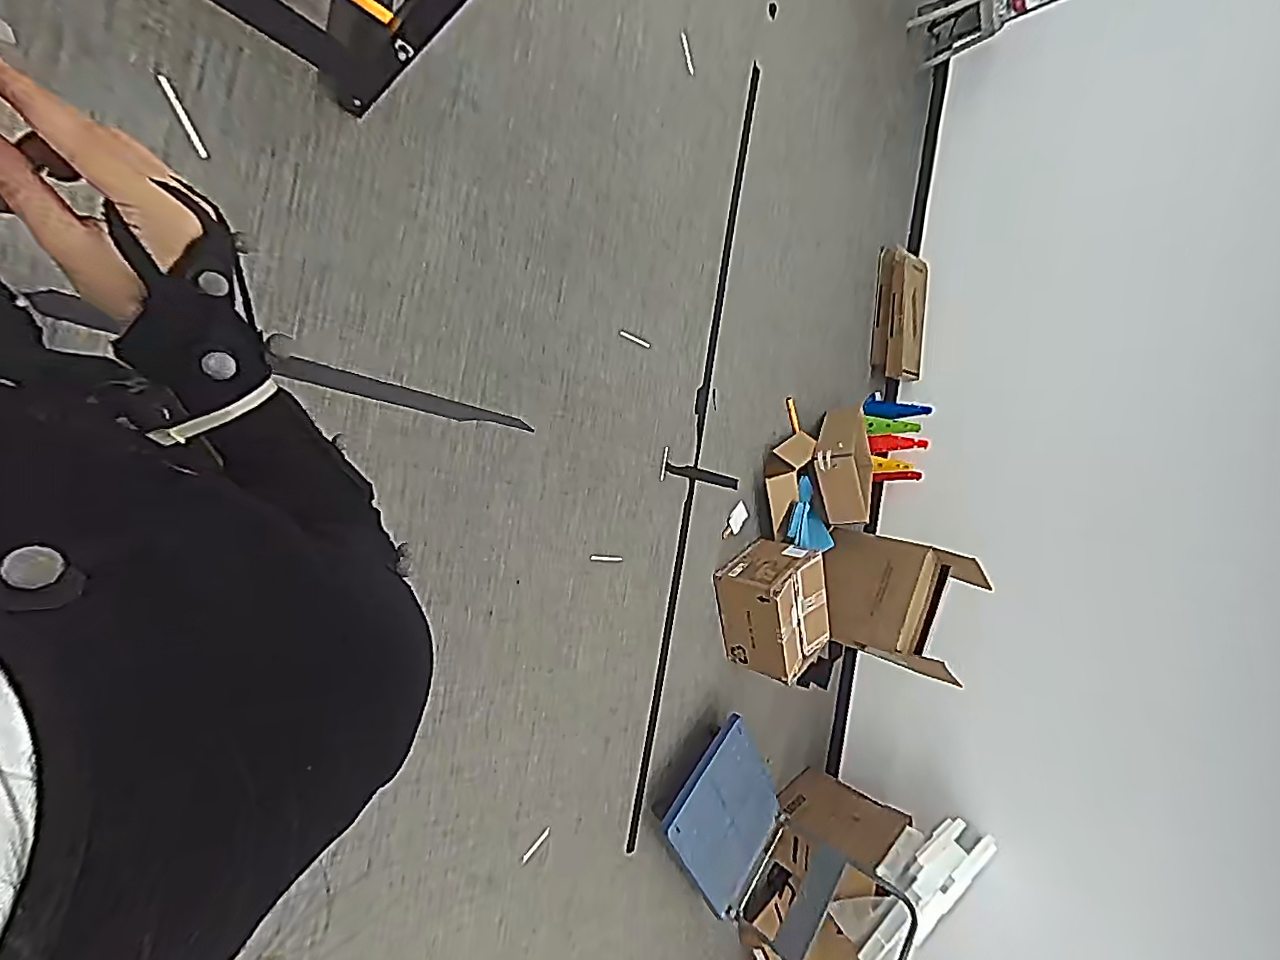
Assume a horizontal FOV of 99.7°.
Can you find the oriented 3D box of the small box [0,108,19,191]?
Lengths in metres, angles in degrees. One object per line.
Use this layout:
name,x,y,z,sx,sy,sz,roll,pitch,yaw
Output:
small box,-0.375,-0.218,0.187,0.179,0.176,0.168,-14,102,-43
